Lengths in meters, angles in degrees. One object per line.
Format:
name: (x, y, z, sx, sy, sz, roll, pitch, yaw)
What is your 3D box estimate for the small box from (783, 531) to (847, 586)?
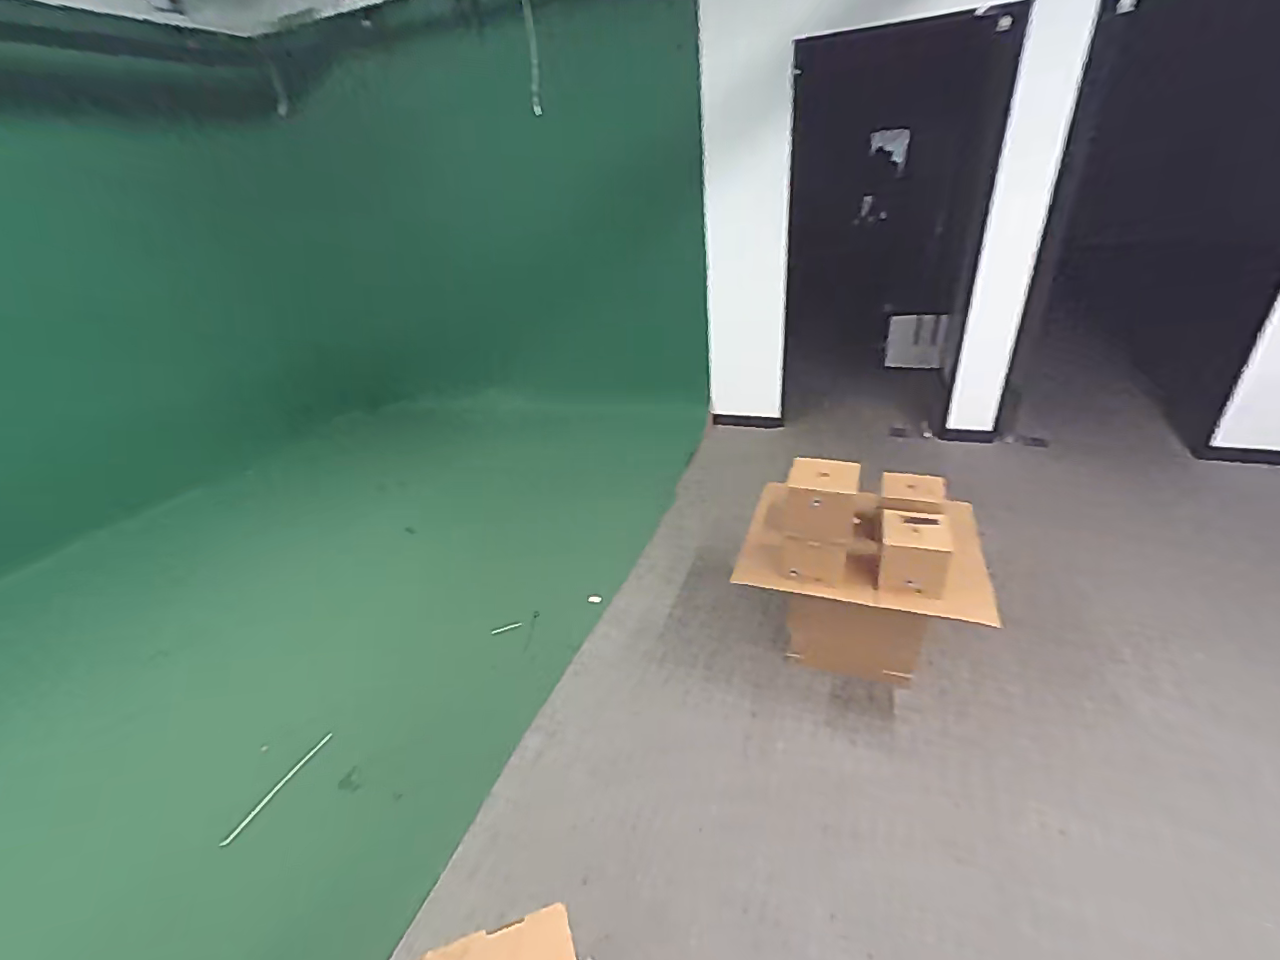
small box: (0.520, 0.189, 1.594, 0.168, 0.176, 0.179, 7, 31, 23)

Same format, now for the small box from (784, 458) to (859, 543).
small box: (0.502, 0.056, 1.500, 0.179, 0.176, 0.168, 7, 34, 23)
